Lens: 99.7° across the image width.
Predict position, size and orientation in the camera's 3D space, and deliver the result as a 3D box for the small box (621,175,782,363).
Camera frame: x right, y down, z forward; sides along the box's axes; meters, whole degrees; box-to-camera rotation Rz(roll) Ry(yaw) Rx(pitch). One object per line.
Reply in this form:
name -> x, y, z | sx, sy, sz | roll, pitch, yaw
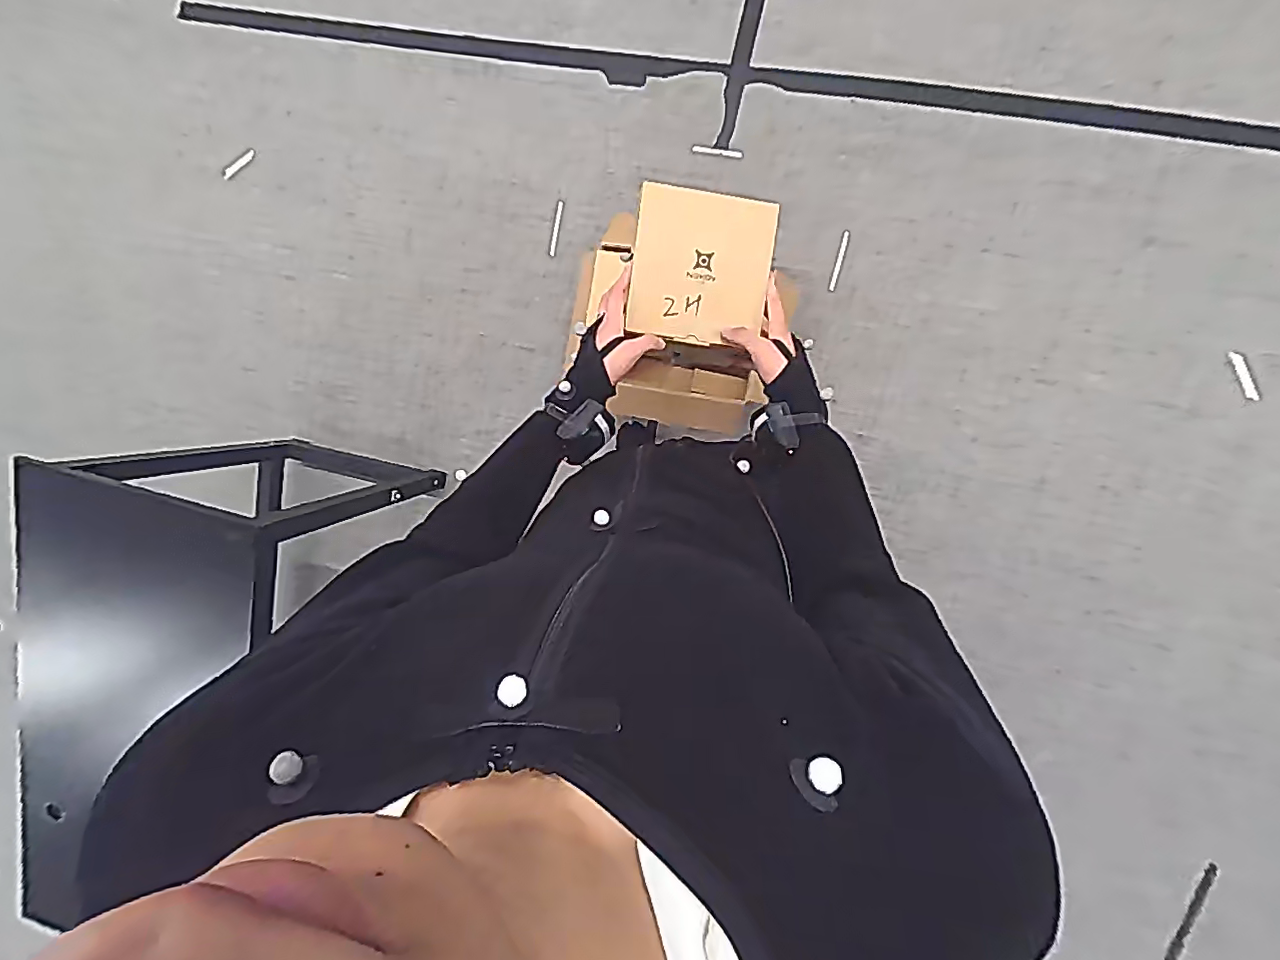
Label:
small box -> 0.068, -0.260, 0.708 | 0.168, 0.176, 0.179 | 8, 96, -5
